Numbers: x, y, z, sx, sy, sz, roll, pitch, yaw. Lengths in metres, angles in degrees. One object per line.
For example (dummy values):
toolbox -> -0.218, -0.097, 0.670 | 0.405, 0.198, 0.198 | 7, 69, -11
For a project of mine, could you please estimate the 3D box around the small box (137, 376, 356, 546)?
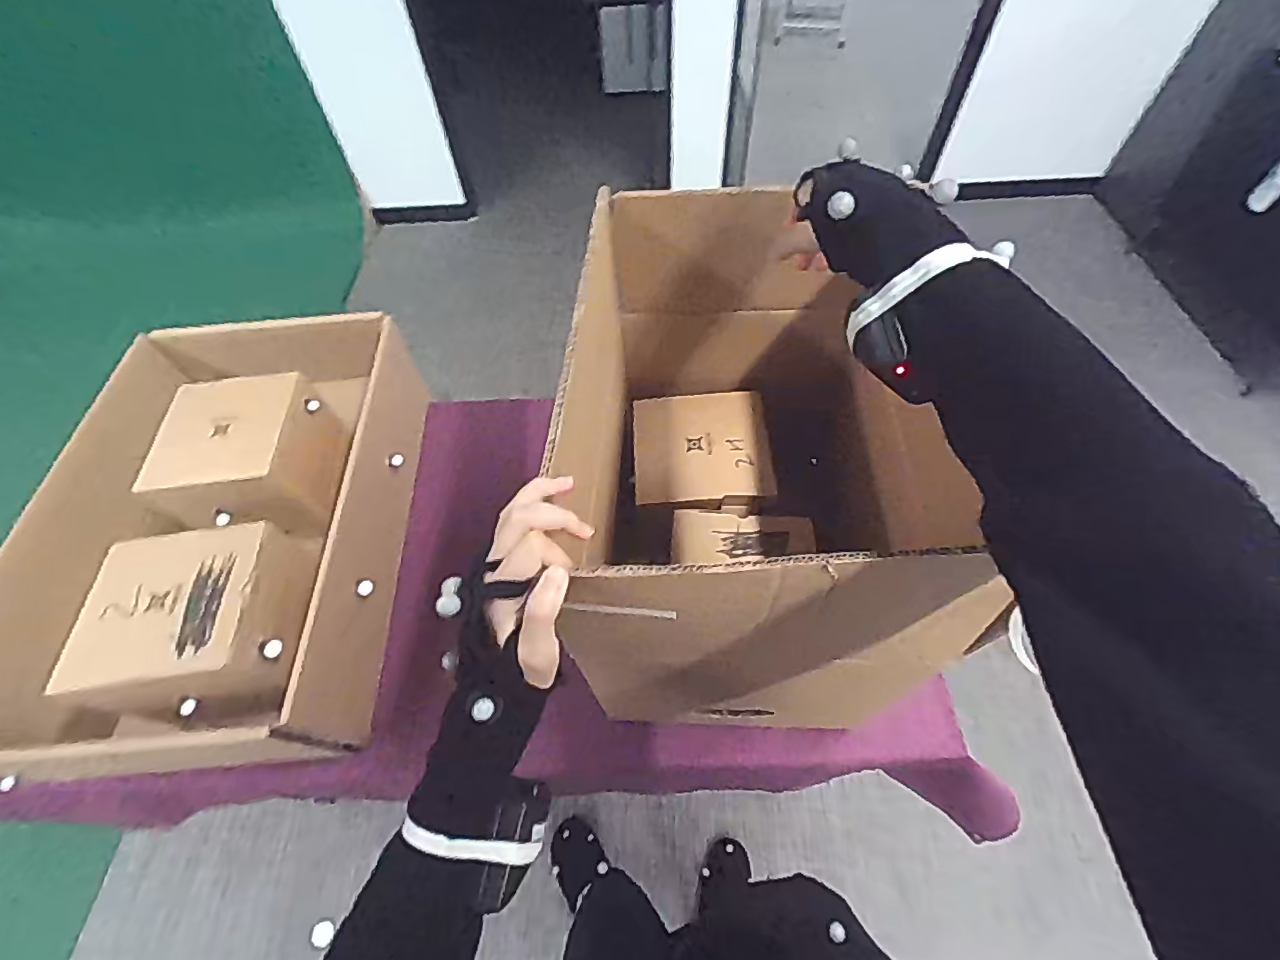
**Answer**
small box -> -0.532, -0.018, 0.765 | 0.168, 0.176, 0.179 | -7, 56, -1
